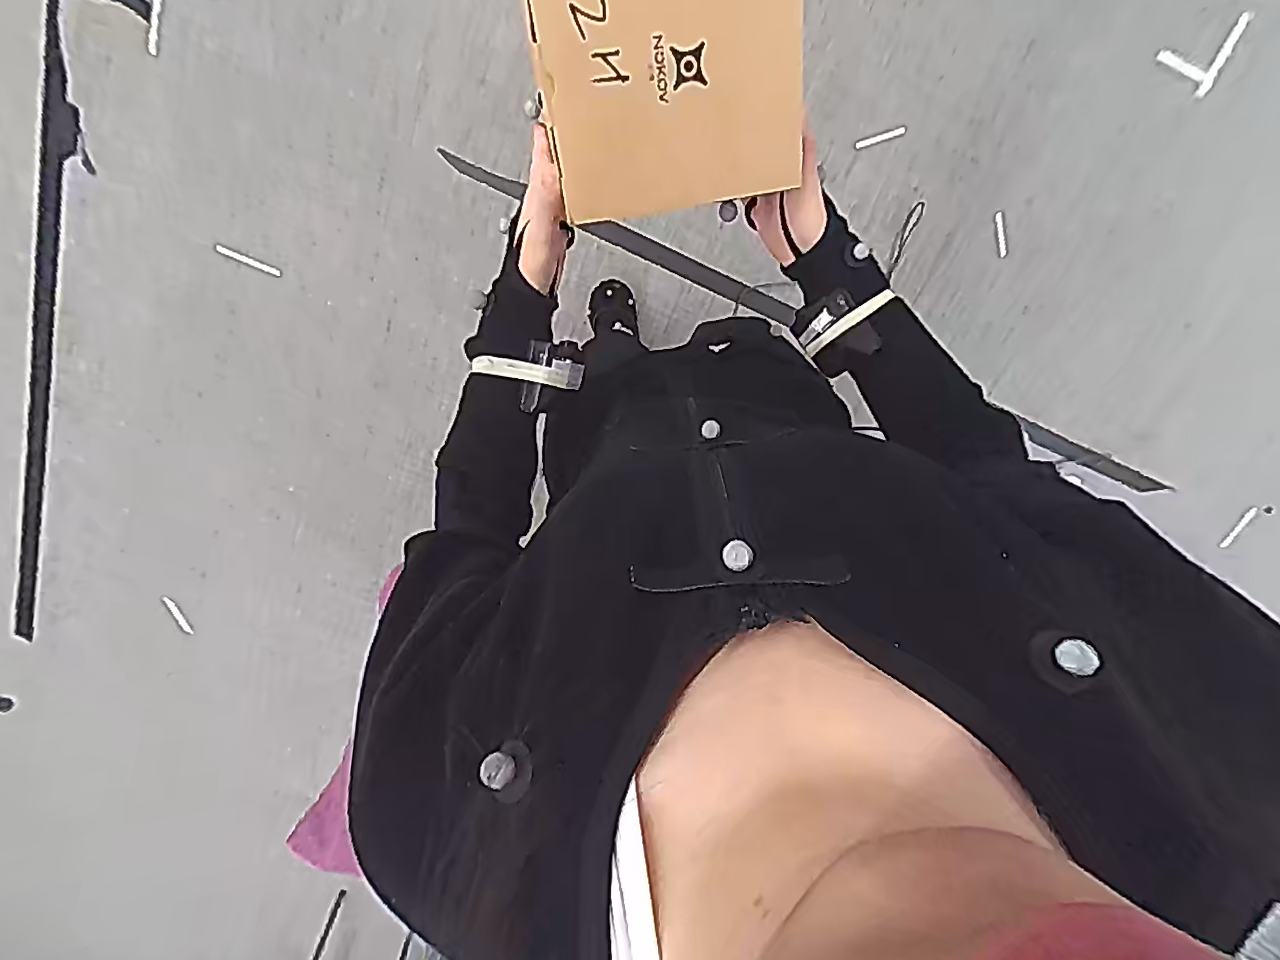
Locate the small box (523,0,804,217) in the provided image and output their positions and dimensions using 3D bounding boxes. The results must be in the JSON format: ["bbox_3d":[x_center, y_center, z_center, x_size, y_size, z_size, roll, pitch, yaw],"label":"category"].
[{"bbox_3d":[0.010,-0.309,0.417,0.179,0.176,0.168,-10,119,-4],"label":"small box"}]
